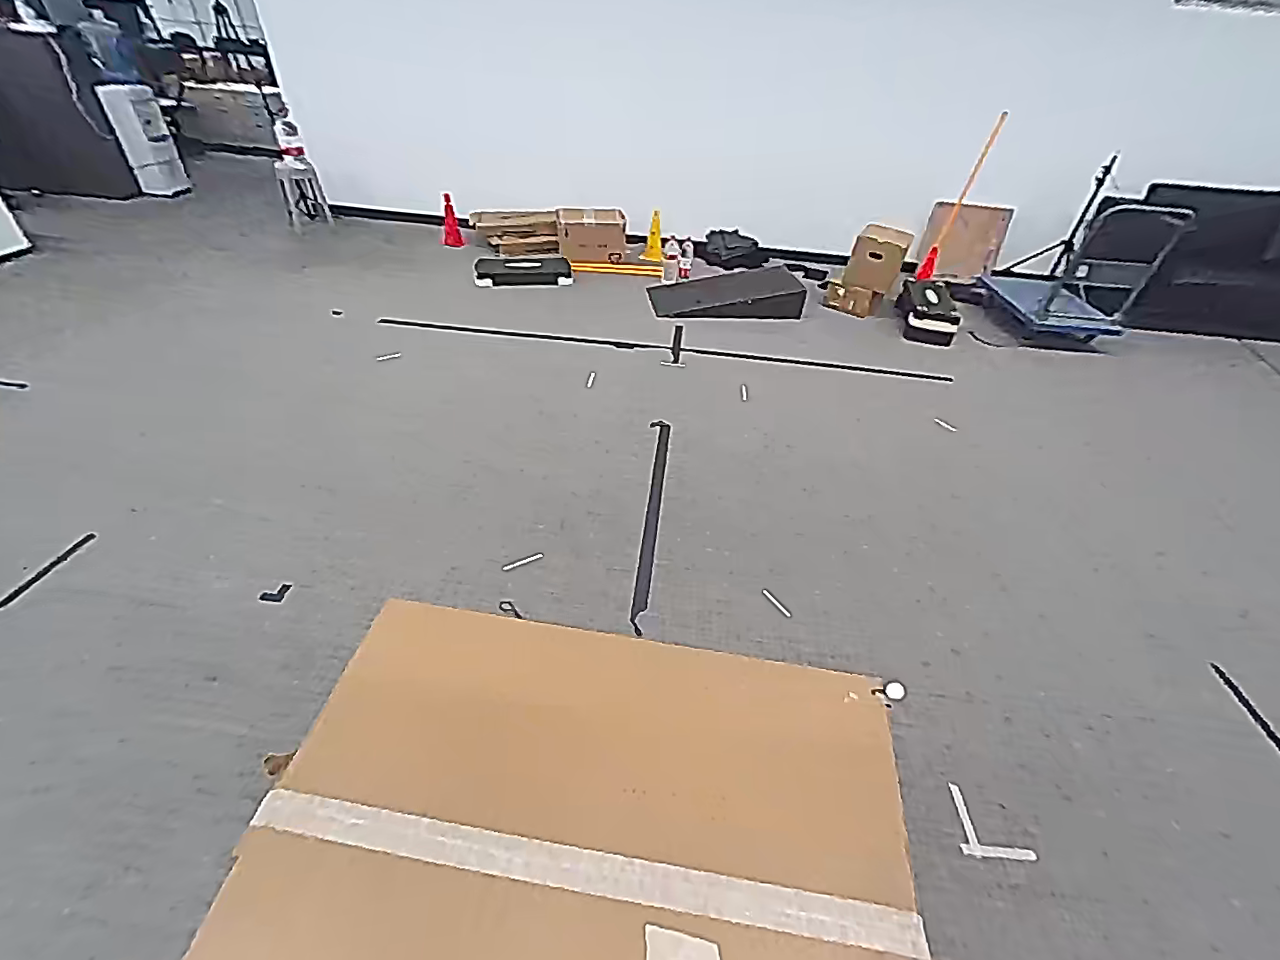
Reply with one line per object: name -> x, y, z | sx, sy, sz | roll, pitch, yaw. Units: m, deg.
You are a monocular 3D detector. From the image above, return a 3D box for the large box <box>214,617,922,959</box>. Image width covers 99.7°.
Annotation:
large box -> -0.038, 0.349, 0.439 | 0.408, 0.320, 0.320 | 8, 46, 4
